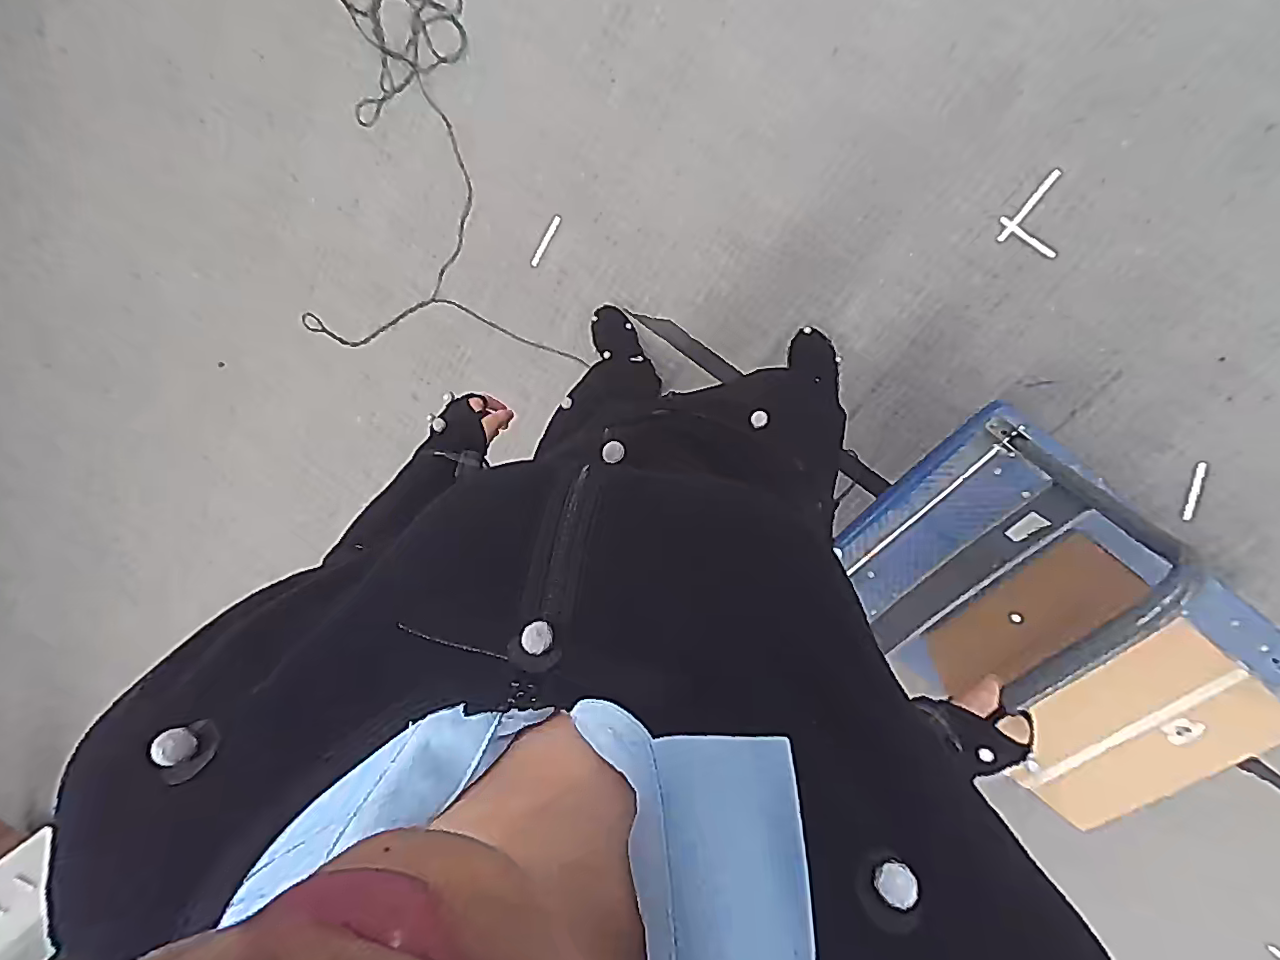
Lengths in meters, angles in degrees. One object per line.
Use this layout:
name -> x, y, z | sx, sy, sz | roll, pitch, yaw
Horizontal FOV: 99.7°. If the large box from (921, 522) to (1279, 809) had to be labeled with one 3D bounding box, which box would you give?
large box -> 0.879, 0.366, 1.117 | 0.320, 0.320, 0.408 | 40, 113, -2
